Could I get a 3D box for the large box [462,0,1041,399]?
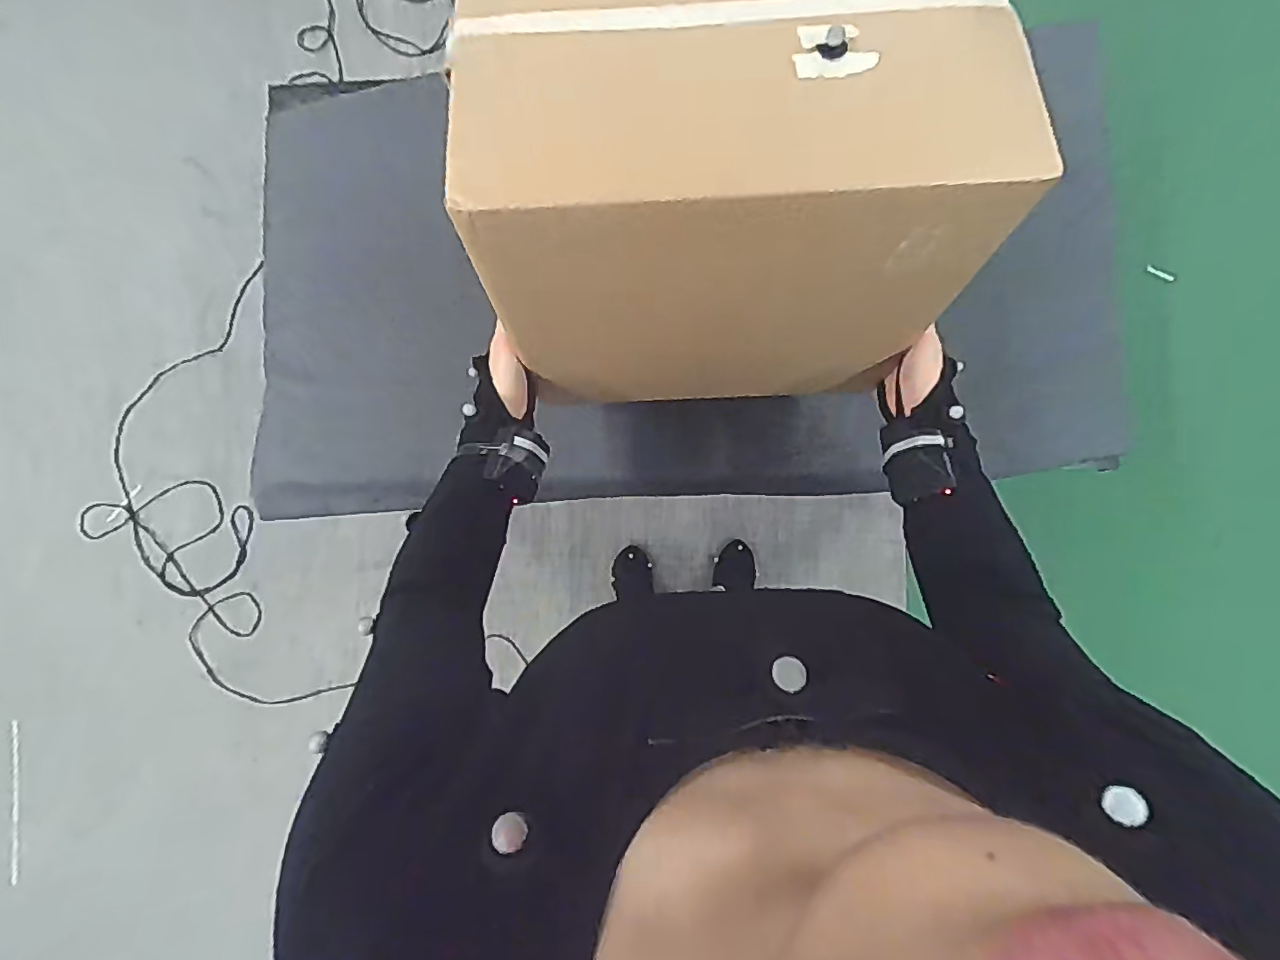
[{"bbox_3d":[0.068,-0.294,0.549,0.408,0.320,0.320,-3,74,0],"label":"large box"}]
